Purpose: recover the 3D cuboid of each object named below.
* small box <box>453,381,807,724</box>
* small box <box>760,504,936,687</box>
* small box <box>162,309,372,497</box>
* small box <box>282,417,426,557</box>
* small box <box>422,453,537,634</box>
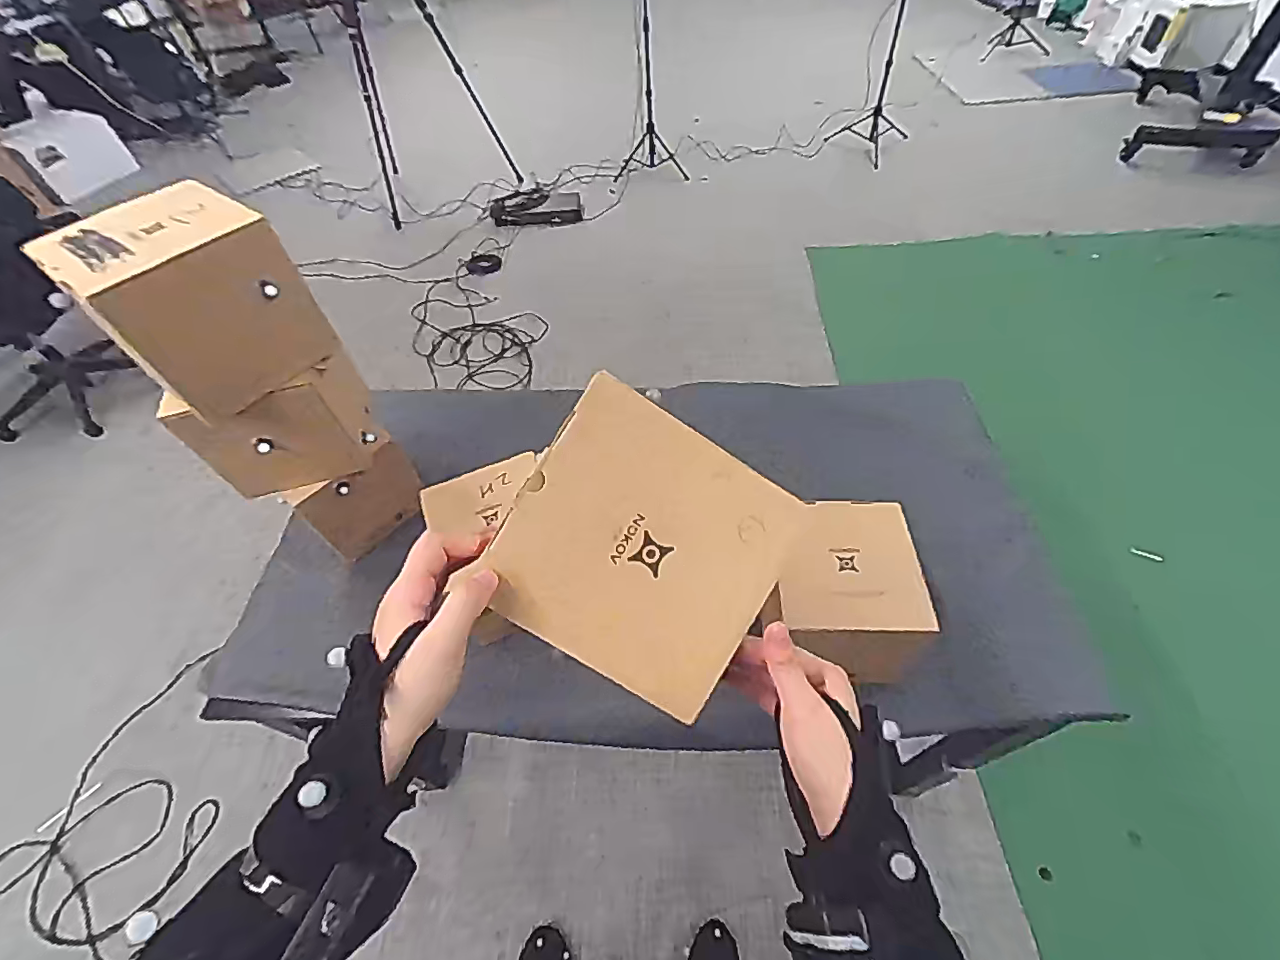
[{"bbox_3d":[-0.011,0.046,0.426,0.179,0.176,0.168,33,87,-6],"label":"small box"},{"bbox_3d":[0.246,0.148,0.697,0.168,0.176,0.179,-1,51,6],"label":"small box"},{"bbox_3d":[-0.491,-0.103,0.748,0.179,0.176,0.168,-16,54,-7],"label":"small box"},{"bbox_3d":[-0.480,-0.006,0.881,0.179,0.176,0.168,34,62,26],"label":"small box"},{"bbox_3d":[-0.189,0.099,0.774,0.168,0.176,0.179,-21,53,-12],"label":"small box"}]
